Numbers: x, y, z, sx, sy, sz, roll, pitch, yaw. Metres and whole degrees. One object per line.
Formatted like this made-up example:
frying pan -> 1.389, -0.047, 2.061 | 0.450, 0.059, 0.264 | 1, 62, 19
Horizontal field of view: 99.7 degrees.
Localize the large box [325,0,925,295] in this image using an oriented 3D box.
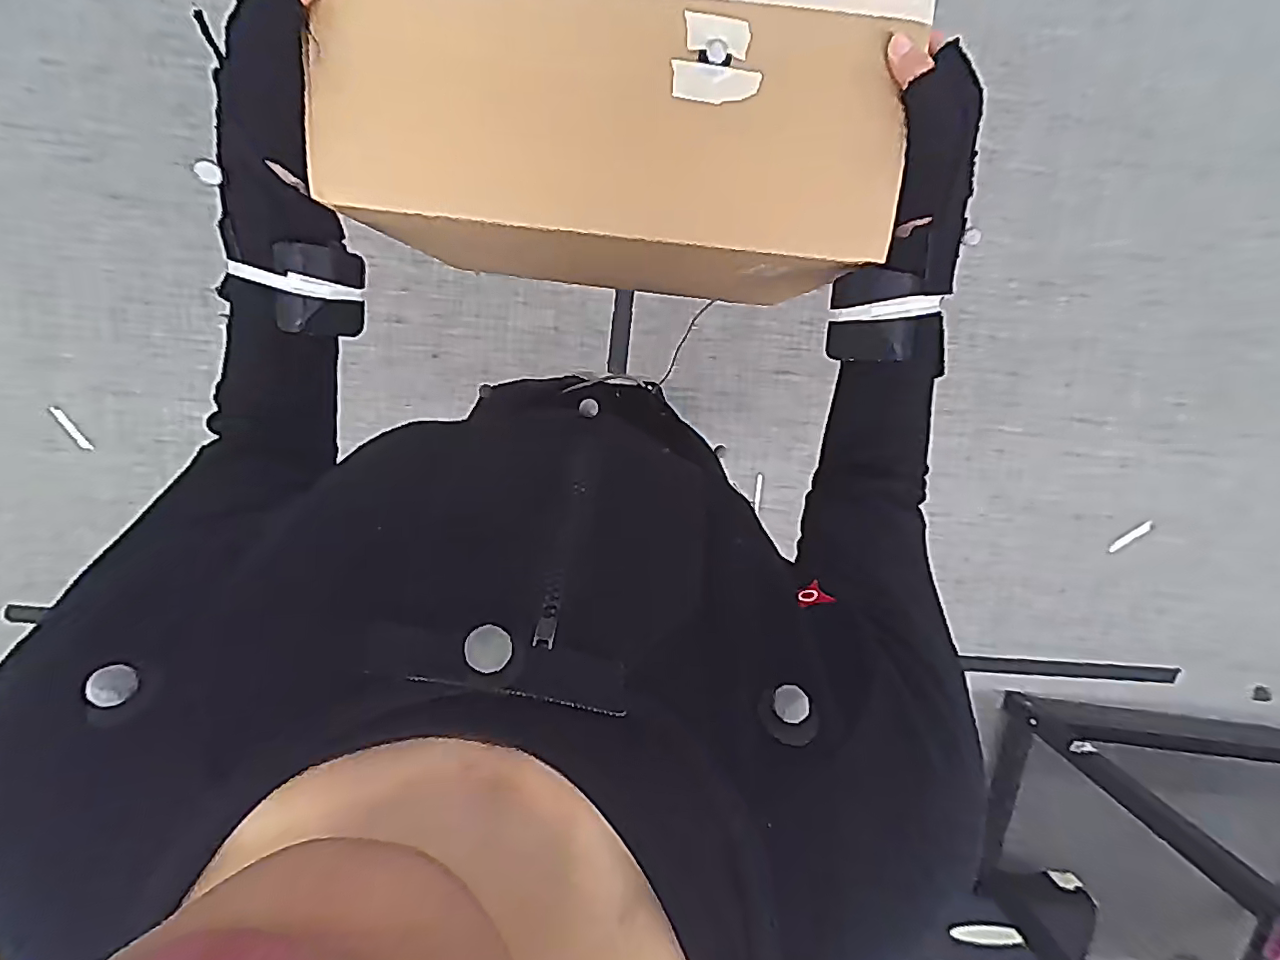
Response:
large box -> -0.010, -0.364, 0.501 | 0.408, 0.320, 0.320 | 6, 104, -2
